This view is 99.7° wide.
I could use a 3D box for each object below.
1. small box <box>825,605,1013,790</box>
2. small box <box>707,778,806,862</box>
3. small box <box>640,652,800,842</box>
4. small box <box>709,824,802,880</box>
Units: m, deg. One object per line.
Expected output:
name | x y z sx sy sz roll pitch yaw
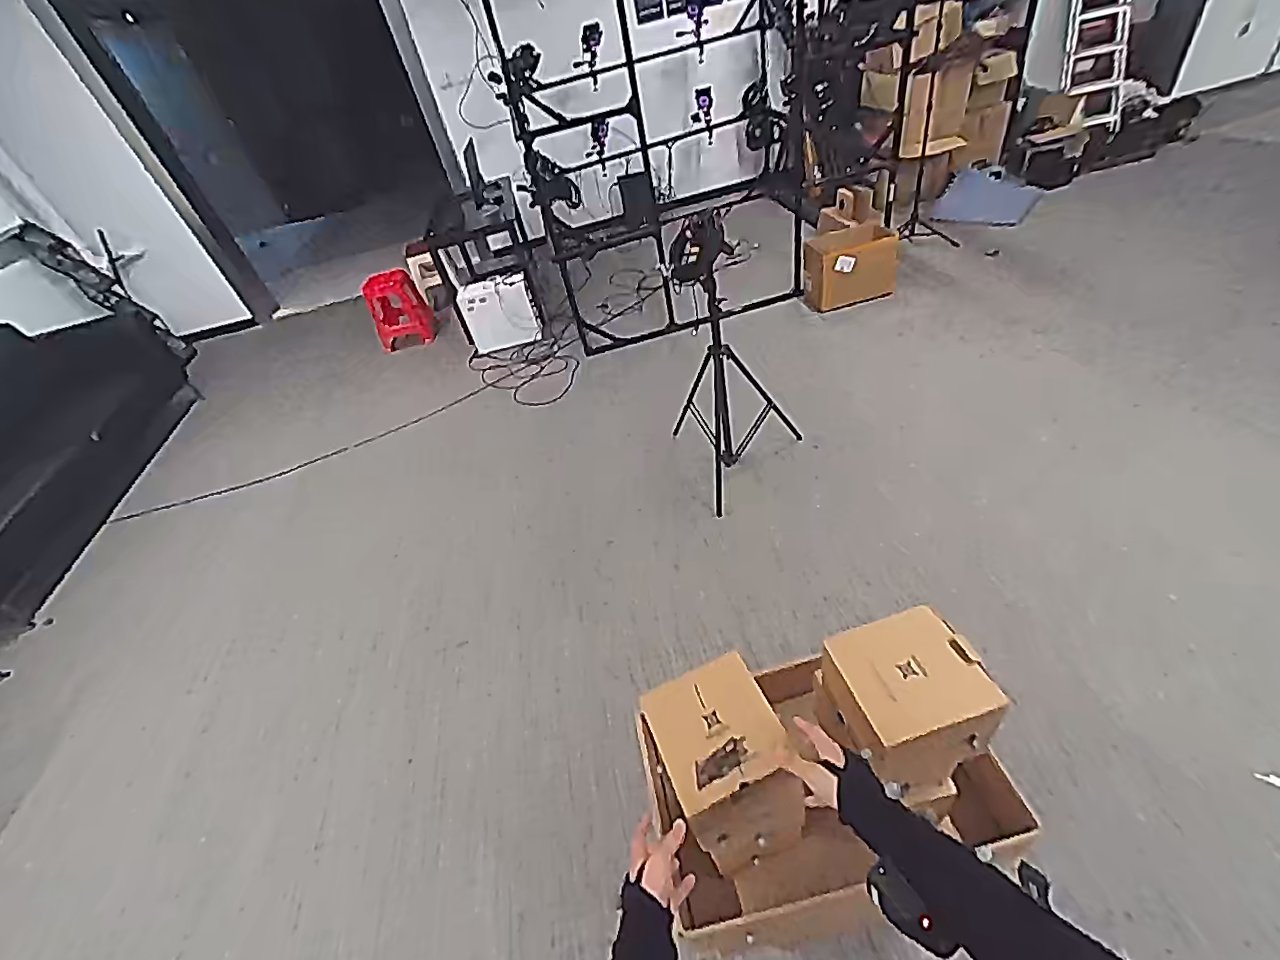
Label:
small box | 0.387 0.317 0.789 0.179 0.176 0.168 -18 40 -3
small box | 0.161 0.500 0.910 0.168 0.176 0.179 -22 42 -6
small box | 0.119 0.395 0.789 0.168 0.176 0.179 -23 42 -8
small box | 0.189 0.613 1.026 0.168 0.176 0.179 -22 42 -6
